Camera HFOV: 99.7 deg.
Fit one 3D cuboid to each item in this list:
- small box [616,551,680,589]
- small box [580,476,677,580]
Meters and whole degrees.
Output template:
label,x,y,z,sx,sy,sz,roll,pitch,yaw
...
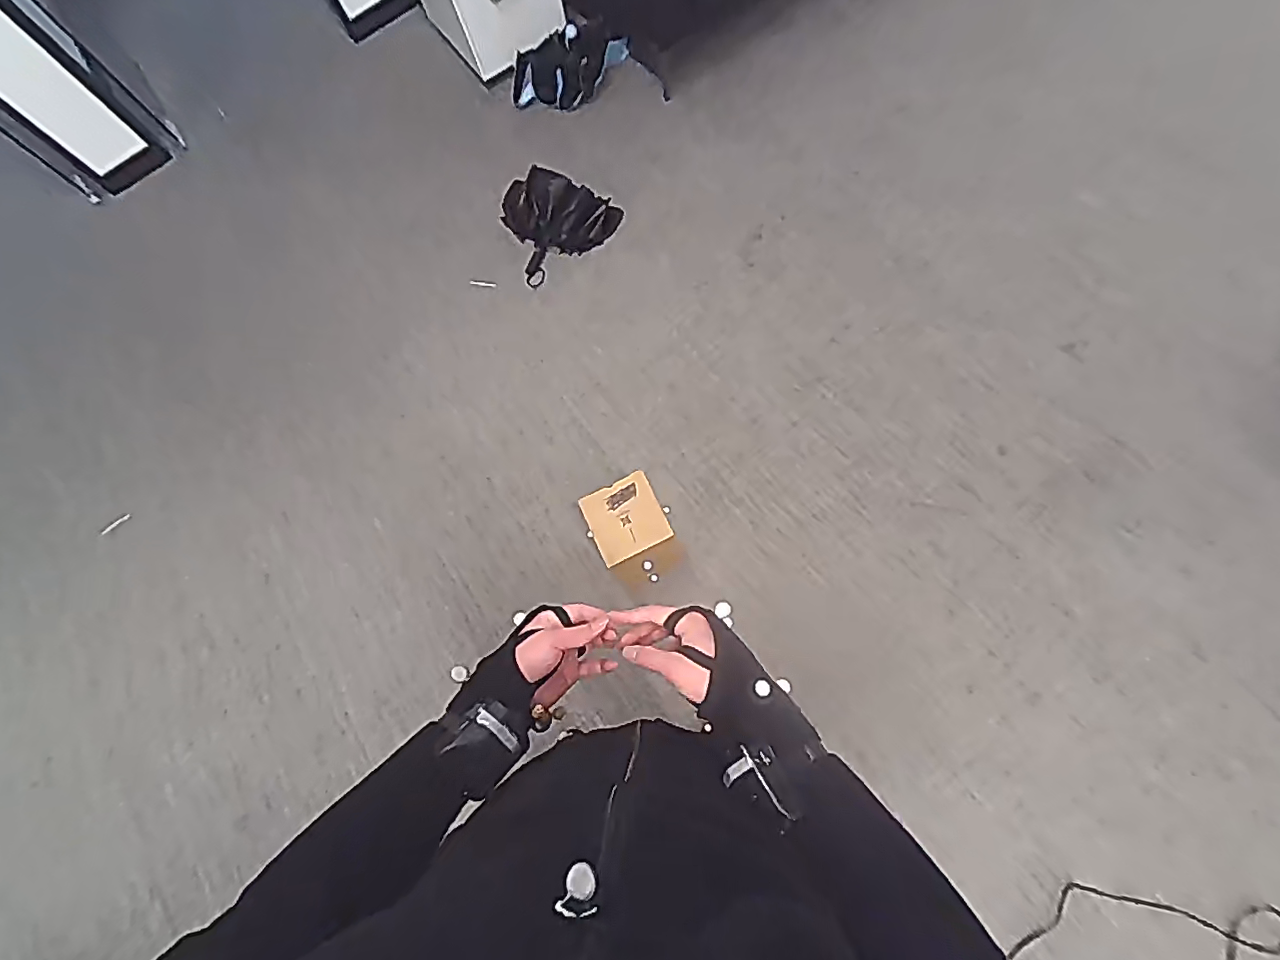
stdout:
label,x,y,z,sx,sy,sz,roll,pitch,yaw
small box,-0.004,0.172,1.439,0.168,0.176,0.179,-27,71,-1
small box,-0.024,0.120,1.284,0.168,0.176,0.179,-25,71,0
